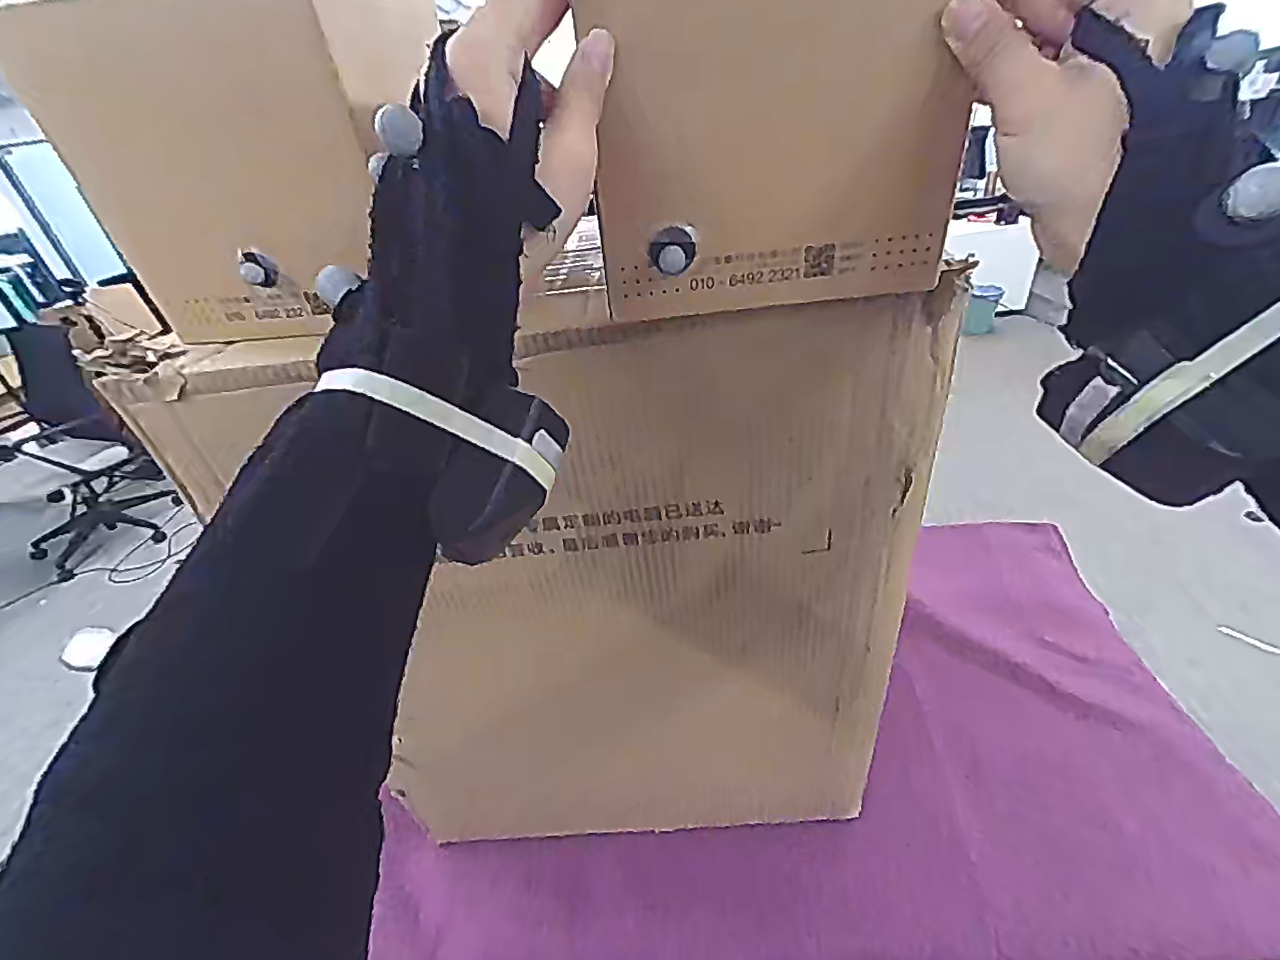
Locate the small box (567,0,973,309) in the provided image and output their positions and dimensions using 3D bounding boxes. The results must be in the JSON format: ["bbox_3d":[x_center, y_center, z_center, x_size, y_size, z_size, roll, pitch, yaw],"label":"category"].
[{"bbox_3d":[0.057,-0.199,0.297,0.168,0.176,0.179,-6,33,2],"label":"small box"}]
